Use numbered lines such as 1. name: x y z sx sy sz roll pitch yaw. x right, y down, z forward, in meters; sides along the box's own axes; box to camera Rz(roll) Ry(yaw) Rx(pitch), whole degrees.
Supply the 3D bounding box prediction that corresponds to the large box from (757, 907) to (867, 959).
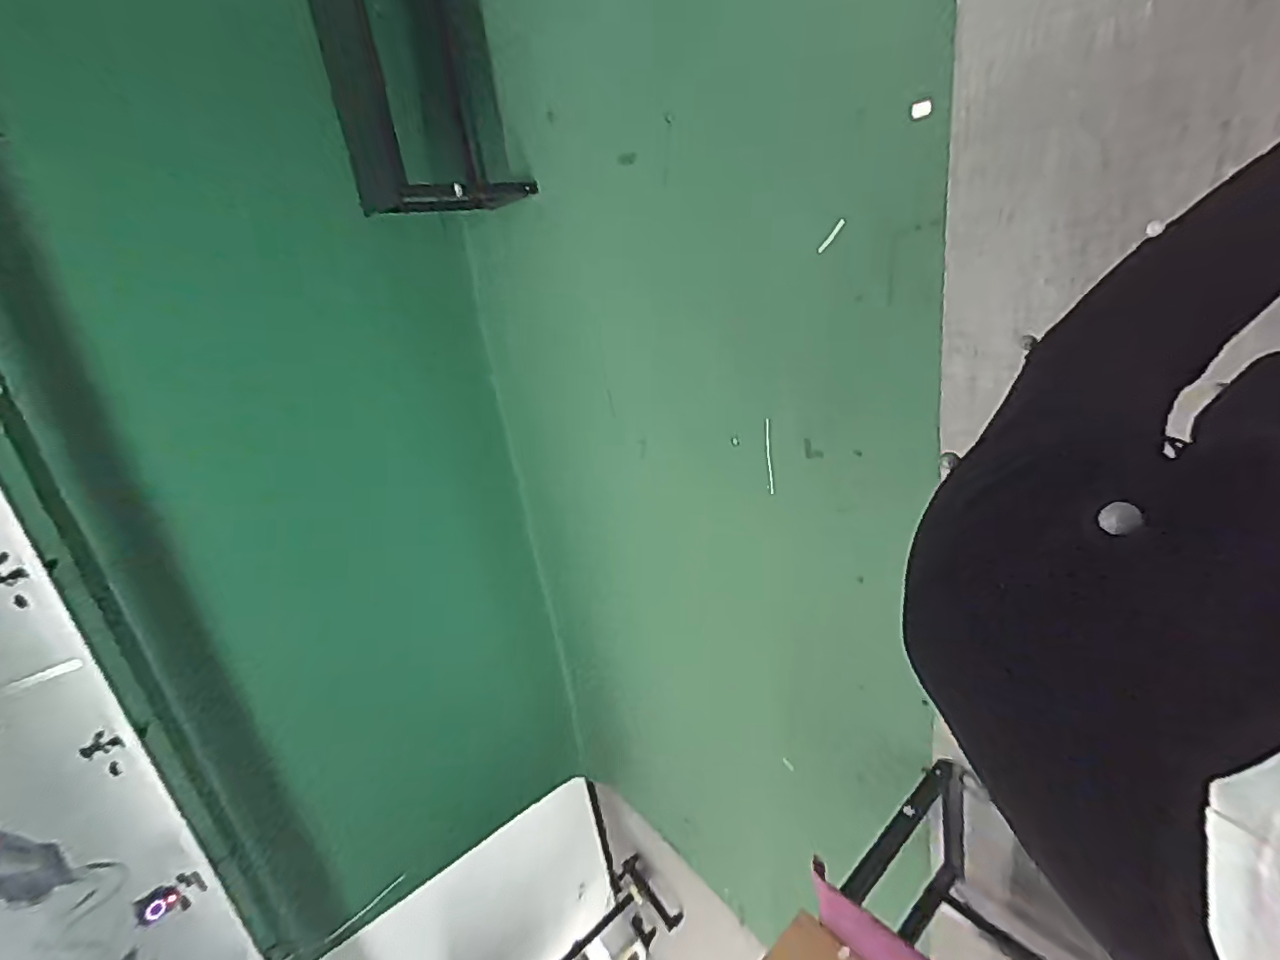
1. large box: 0.499 1.545 1.504 0.320 0.320 0.408 14 118 49
